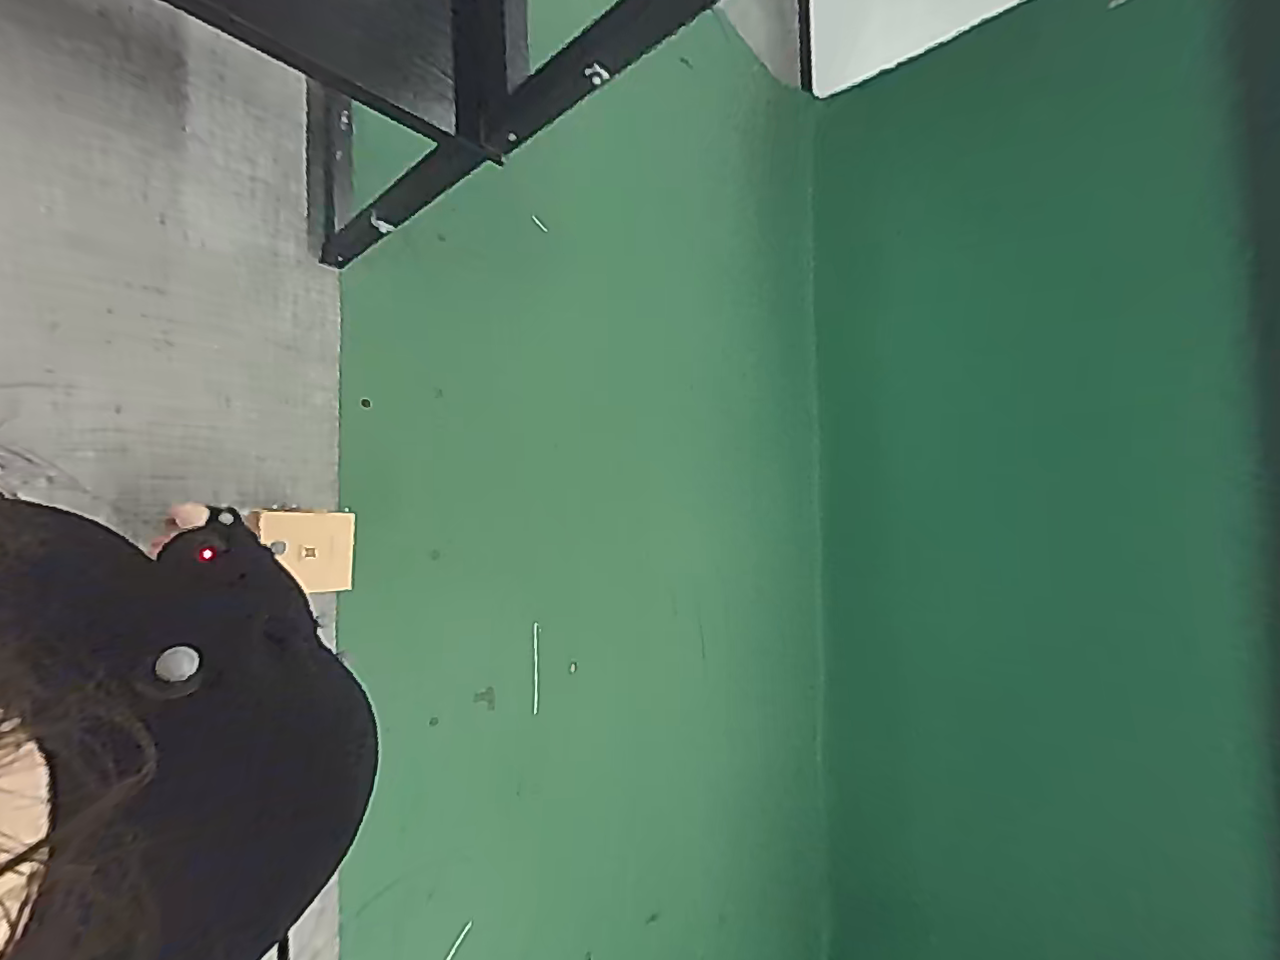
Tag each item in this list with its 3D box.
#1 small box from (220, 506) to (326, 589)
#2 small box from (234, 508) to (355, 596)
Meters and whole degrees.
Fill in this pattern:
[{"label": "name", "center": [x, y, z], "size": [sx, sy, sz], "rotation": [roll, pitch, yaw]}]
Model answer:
[{"label": "small box", "center": [-0.846, 0.150, 1.248], "size": [0.168, 0.176, 0.179], "rotation": [6, 85, -49]}, {"label": "small box", "center": [-0.729, 0.145, 1.137], "size": [0.179, 0.176, 0.168], "rotation": [4, 87, -50]}]
